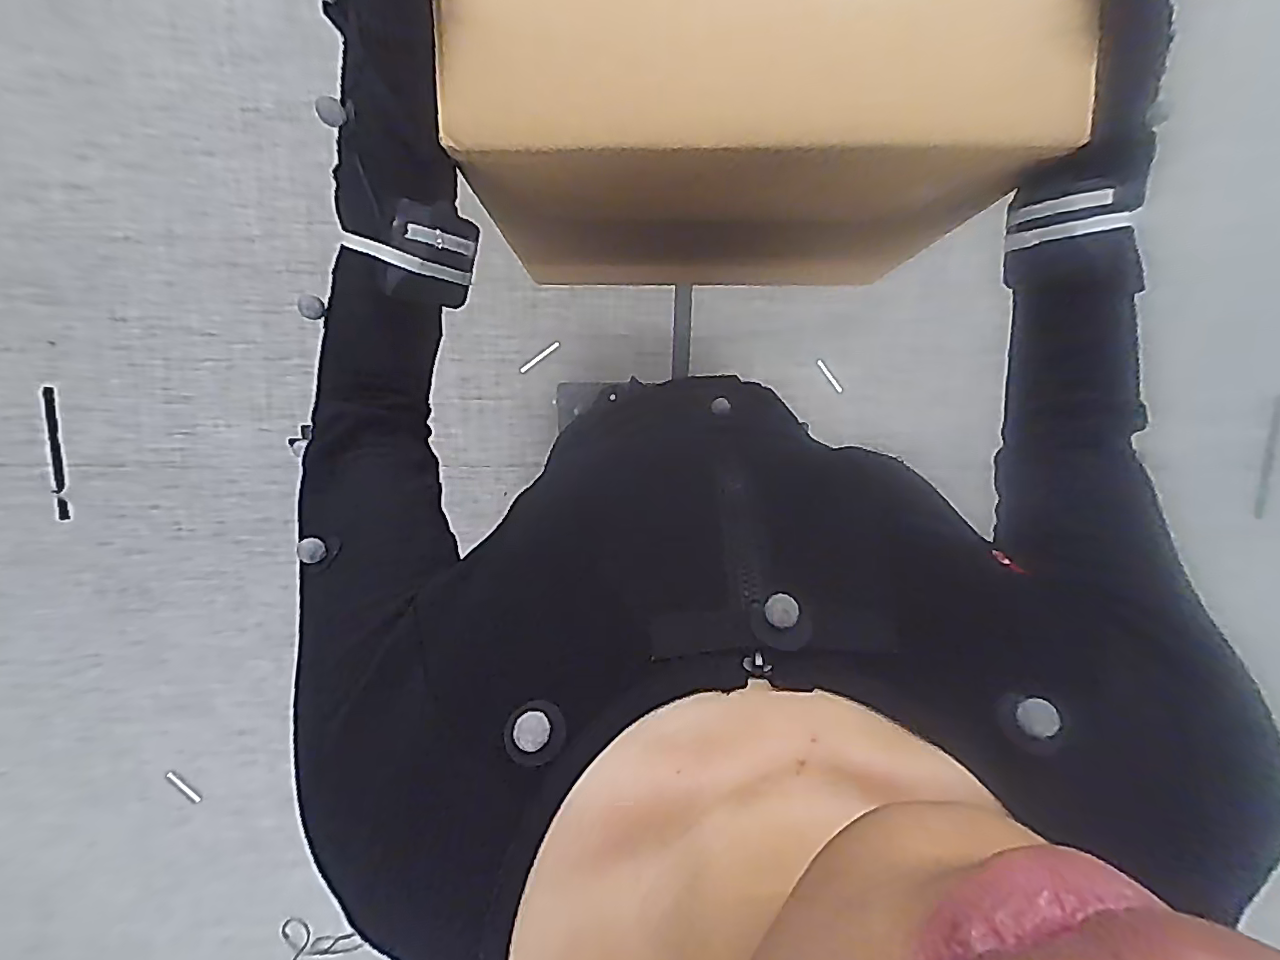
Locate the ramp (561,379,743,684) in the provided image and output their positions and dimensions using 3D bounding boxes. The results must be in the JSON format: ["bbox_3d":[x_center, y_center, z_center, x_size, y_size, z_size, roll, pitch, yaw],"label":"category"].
[{"bbox_3d":[0.034,0.198,1.605,0.509,0.206,0.991,-2,100,-1],"label":"ramp"}]

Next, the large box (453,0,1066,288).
[{"bbox_3d":[0.073,-0.378,0.494,0.408,0.320,0.320,-1,94,0],"label":"large box"}]
